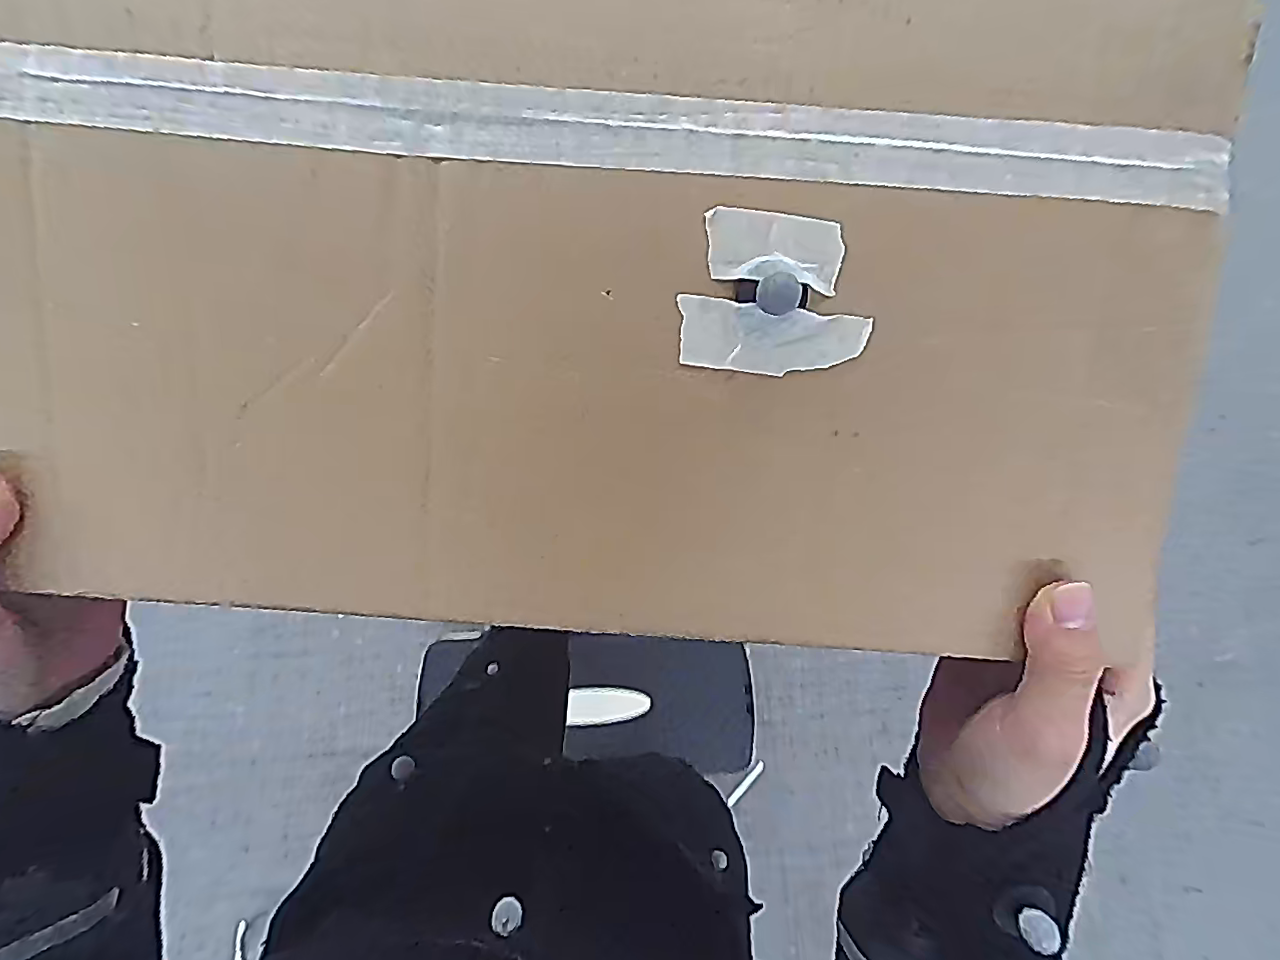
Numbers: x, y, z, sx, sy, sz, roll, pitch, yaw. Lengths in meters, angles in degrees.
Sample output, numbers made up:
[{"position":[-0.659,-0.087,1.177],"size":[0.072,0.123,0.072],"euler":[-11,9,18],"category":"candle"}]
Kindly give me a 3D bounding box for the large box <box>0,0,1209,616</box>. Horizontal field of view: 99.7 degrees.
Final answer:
[{"position":[-0.023,-0.126,0.327],"size":[0.408,0.320,0.320],"euler":[4,97,-1],"category":"large box"}]
